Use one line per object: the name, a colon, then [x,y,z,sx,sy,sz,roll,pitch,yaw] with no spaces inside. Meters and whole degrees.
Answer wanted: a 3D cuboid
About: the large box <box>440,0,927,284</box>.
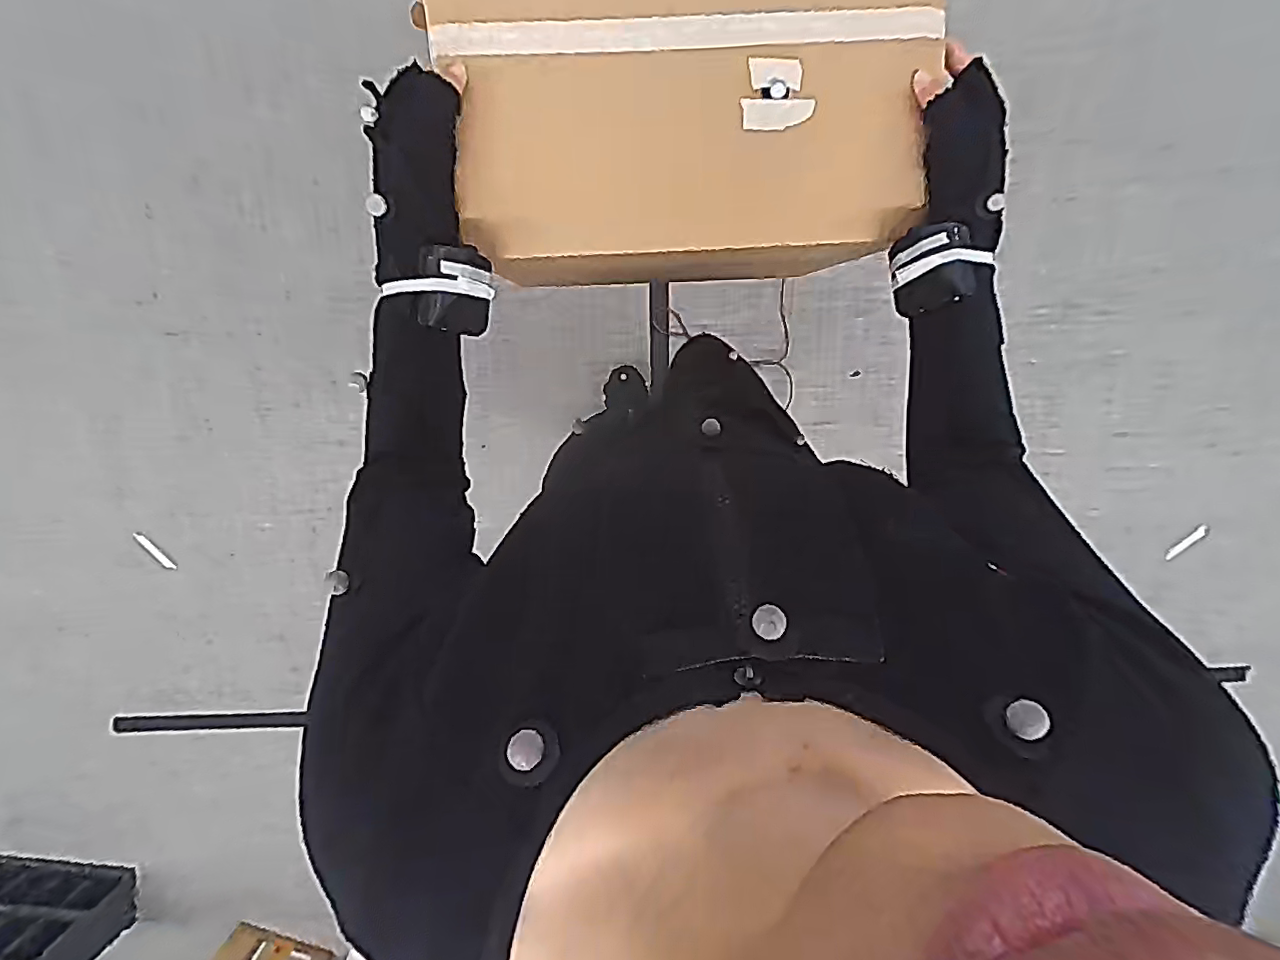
large box: [0.030,-0.401,0.587,0.408,0.320,0.320,-4,106,-3]
